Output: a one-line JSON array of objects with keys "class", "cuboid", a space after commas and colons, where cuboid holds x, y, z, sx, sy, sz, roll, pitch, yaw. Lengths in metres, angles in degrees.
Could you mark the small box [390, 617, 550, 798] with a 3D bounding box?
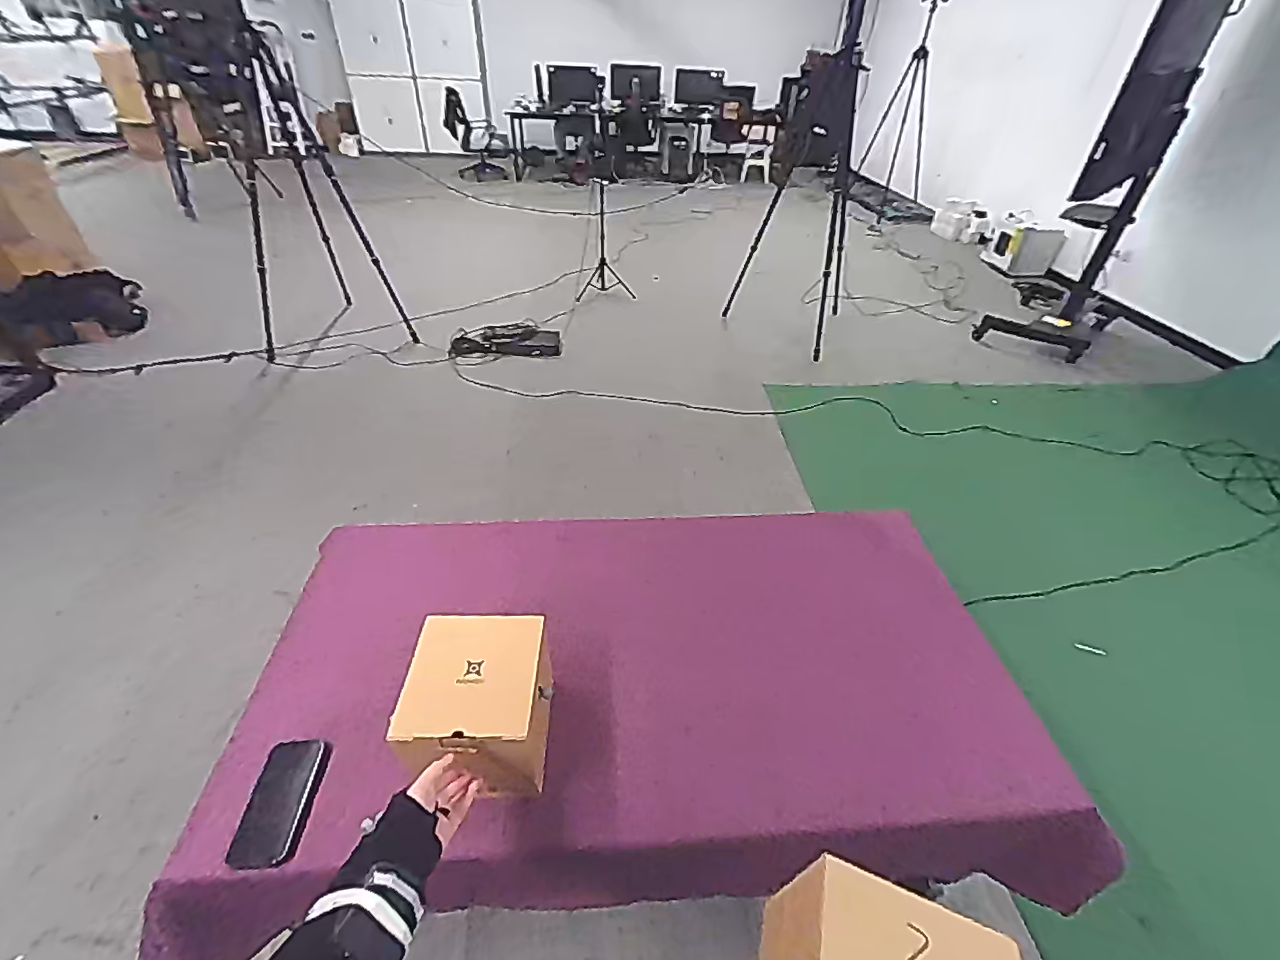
[{"class": "small box", "cuboid": [-0.219, 0.313, 0.751, 0.168, 0.176, 0.179, 1, 39, -2]}]
